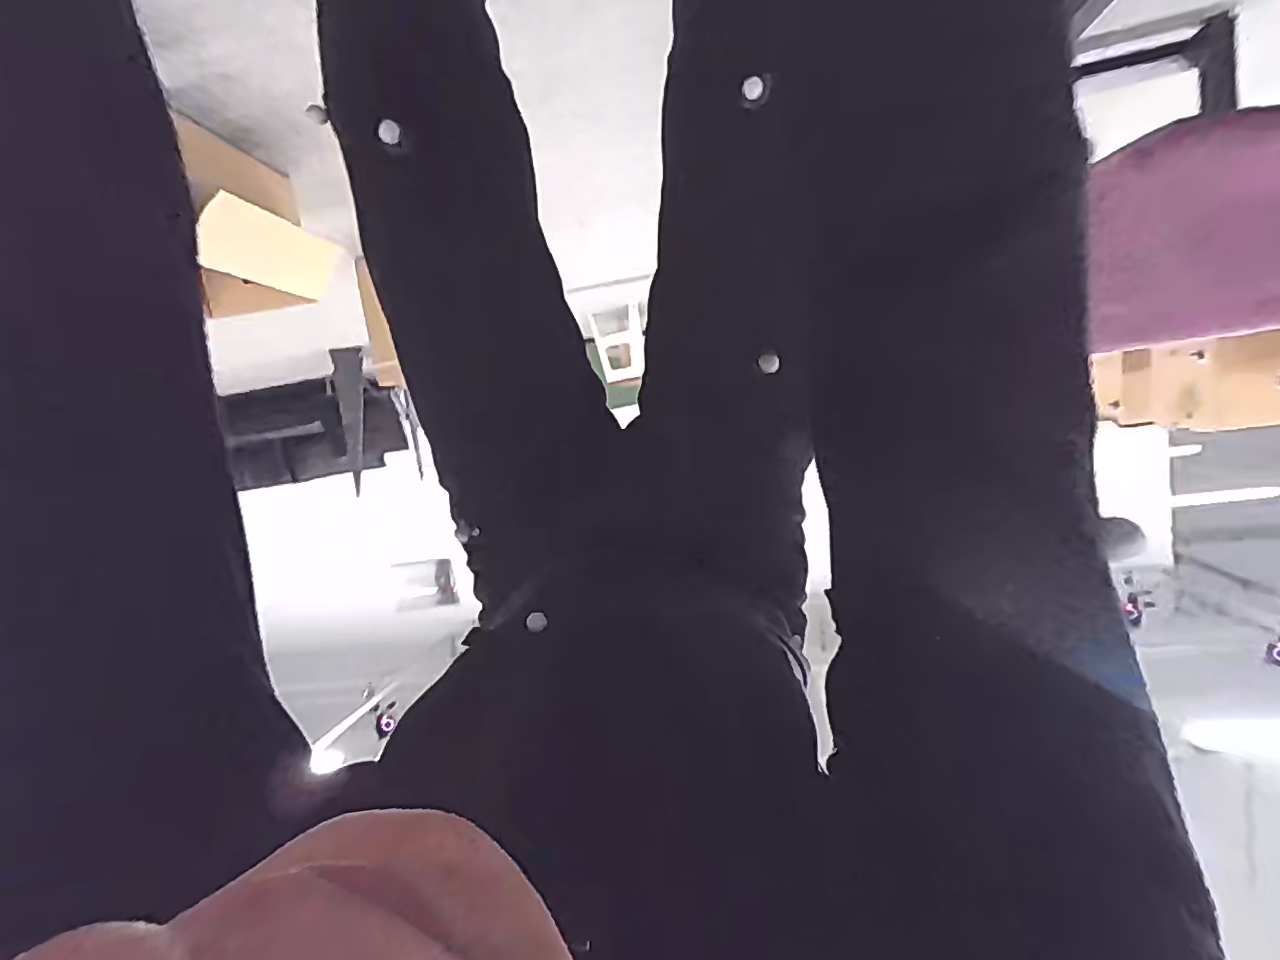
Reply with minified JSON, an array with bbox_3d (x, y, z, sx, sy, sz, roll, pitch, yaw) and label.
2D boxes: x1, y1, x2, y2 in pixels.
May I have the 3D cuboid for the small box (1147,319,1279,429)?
[{"bbox_3d":[1.076,-0.191,0.985,0.179,0.176,0.168,-7,-174,15],"label":"small box"}]
